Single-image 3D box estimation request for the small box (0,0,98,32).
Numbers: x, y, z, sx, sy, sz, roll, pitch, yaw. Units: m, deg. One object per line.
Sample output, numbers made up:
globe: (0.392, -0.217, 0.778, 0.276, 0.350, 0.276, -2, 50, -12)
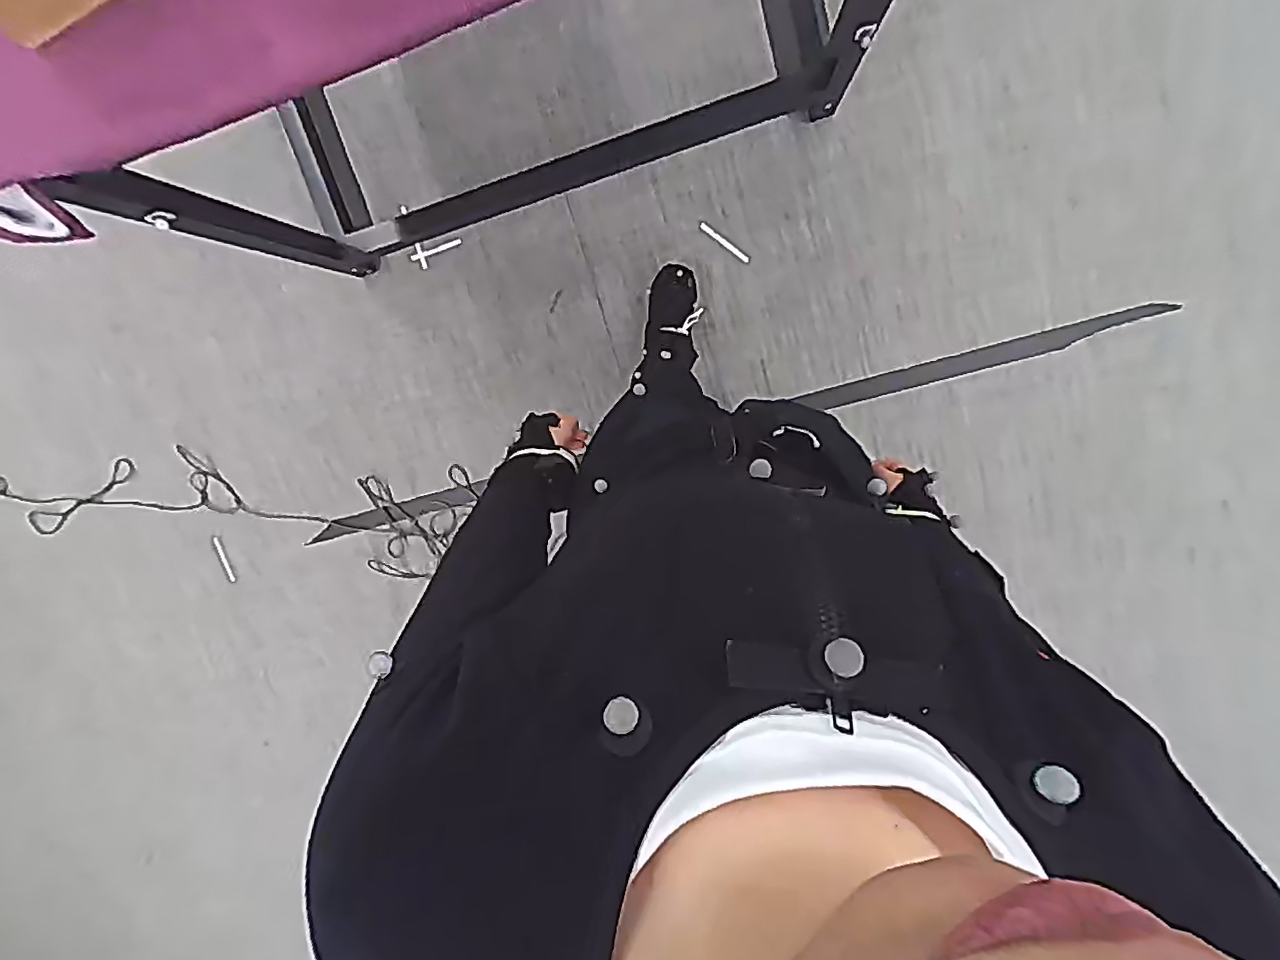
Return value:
small box: (-0.647, -0.576, 0.507, 0.168, 0.176, 0.179, -22, 98, 10)
